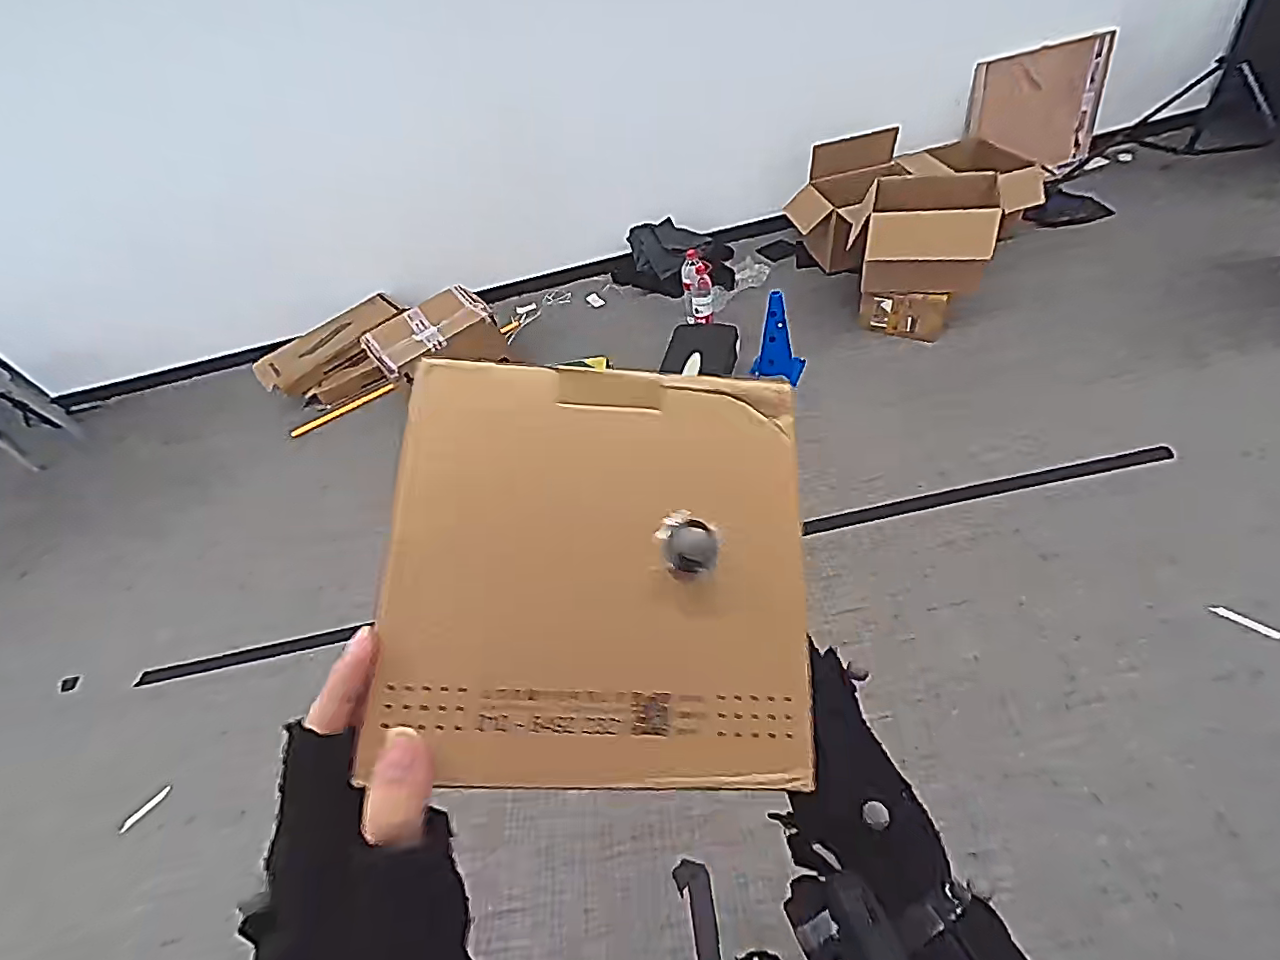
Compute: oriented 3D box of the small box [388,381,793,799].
[{"bbox_3d":[-0.020,0.059,0.298,0.168,0.179,0.176,2,75,-1],"label":"small box"}]
